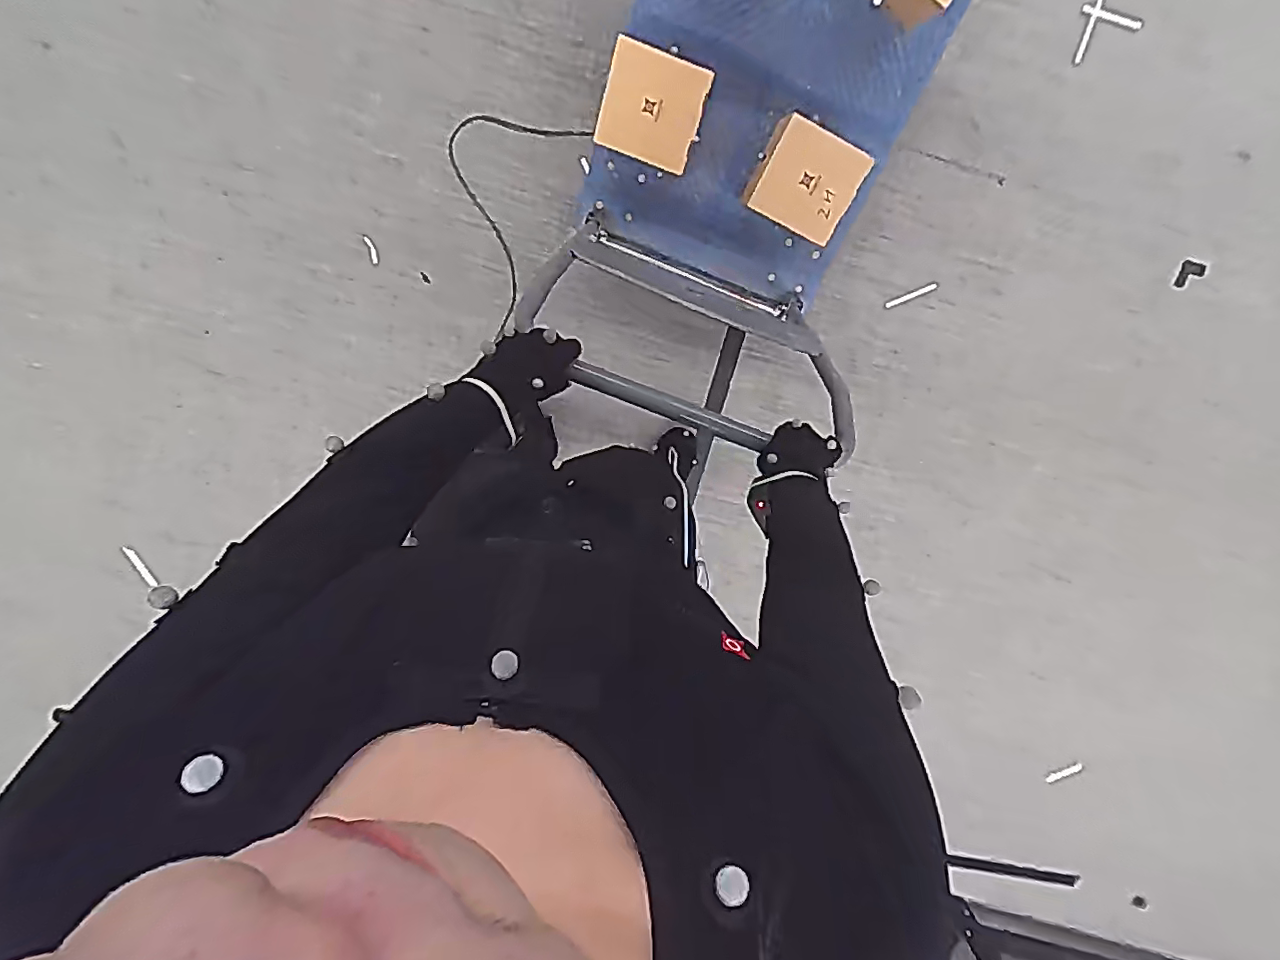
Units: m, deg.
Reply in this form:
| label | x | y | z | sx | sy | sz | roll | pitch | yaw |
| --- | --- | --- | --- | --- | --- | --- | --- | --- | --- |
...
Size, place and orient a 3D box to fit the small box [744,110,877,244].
| label | x | y | z | sx | sy | sz | roll | pitch | yaw |
| --- | --- | --- | --- | --- | --- | --- | --- | --- | --- |
| small box | 0.322 | -0.592 | 1.068 | 0.179 | 0.176 | 0.168 | 24 | 119 | -10 |

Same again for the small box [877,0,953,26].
| label | x | y | z | sx | sy | sz | roll | pitch | yaw |
| --- | --- | --- | --- | --- | --- | --- | --- | --- | --- |
| small box | 0.476 | -0.899 | 0.881 | 0.168 | 0.176 | 0.179 | 30 | 118 | -13 |

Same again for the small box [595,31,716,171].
| label | x | y | z | sx | sy | sz | roll | pitch | yaw |
| --- | --- | --- | --- | --- | --- | --- | --- | --- | --- |
| small box | 0.027 | -0.703 | 1.025 | 0.179 | 0.176 | 0.168 | 17 | 120 | -8 |
